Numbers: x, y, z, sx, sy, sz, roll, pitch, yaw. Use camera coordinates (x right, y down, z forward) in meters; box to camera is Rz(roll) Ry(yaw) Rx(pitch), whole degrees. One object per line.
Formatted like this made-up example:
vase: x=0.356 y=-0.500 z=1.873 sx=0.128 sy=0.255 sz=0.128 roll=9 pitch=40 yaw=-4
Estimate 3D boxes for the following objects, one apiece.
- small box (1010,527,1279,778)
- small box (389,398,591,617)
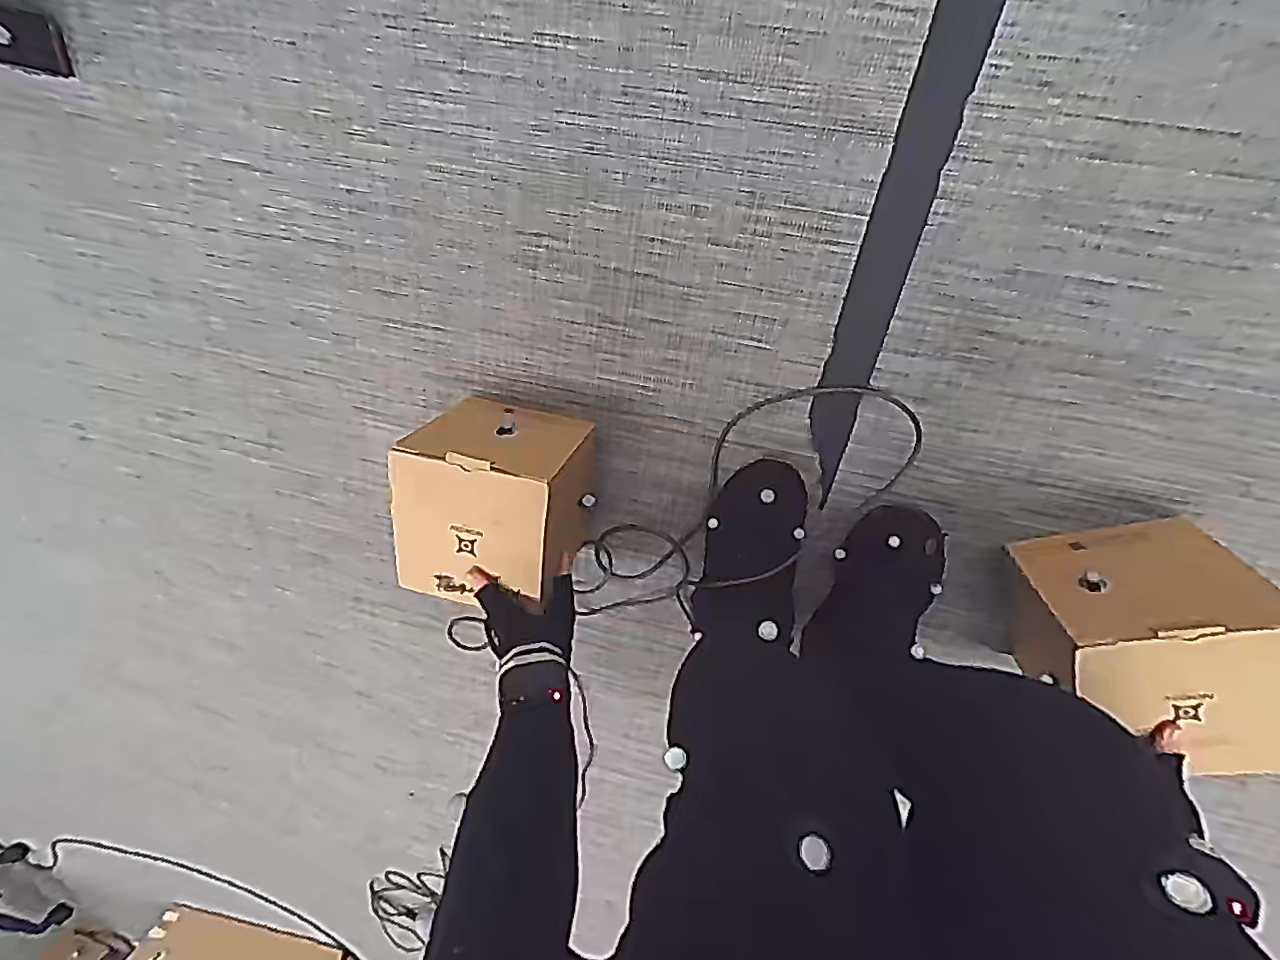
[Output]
small box: x=0.493 y=0.162 z=0.538 sx=0.168 sy=0.176 sz=0.179 roll=-12 pitch=113 yaw=20
small box: x=-0.160 y=0.019 z=0.616 sx=0.168 sy=0.176 sz=0.179 roll=13 pitch=116 yaw=6
